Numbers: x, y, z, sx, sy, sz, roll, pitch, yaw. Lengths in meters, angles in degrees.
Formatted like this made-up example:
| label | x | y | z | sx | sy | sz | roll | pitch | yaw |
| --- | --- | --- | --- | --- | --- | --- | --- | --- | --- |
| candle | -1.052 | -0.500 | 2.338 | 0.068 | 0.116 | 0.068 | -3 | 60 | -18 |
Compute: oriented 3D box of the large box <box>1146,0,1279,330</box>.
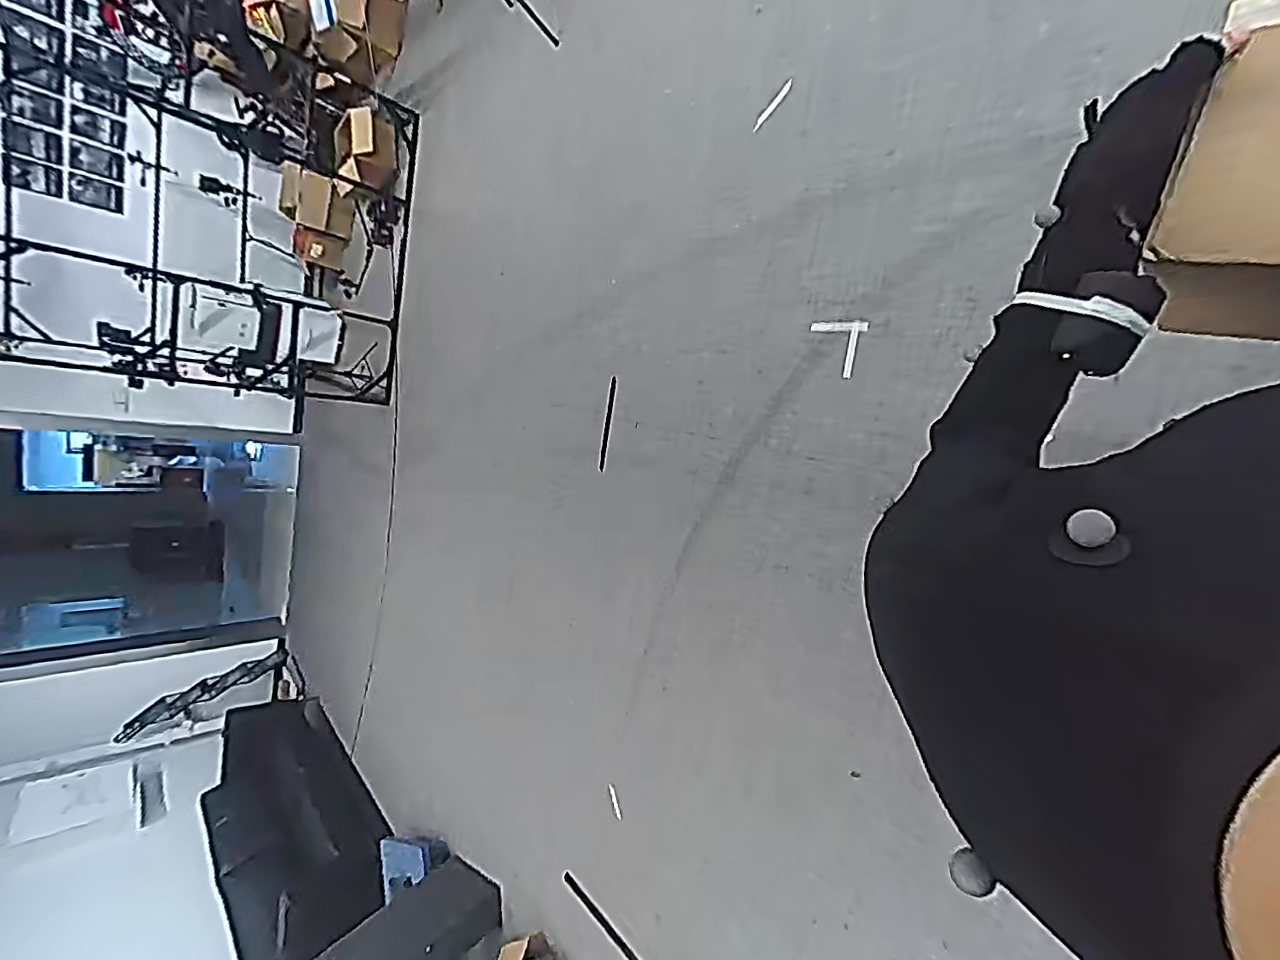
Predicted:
| label | x | y | z | sx | sy | sz | roll | pitch | yaw |
| --- | --- | --- | --- | --- | --- | --- | --- | --- | --- |
| large box | 0.646 | -0.269 | 0.350 | 0.408 | 0.320 | 0.320 | 23 | 109 | 42 |
